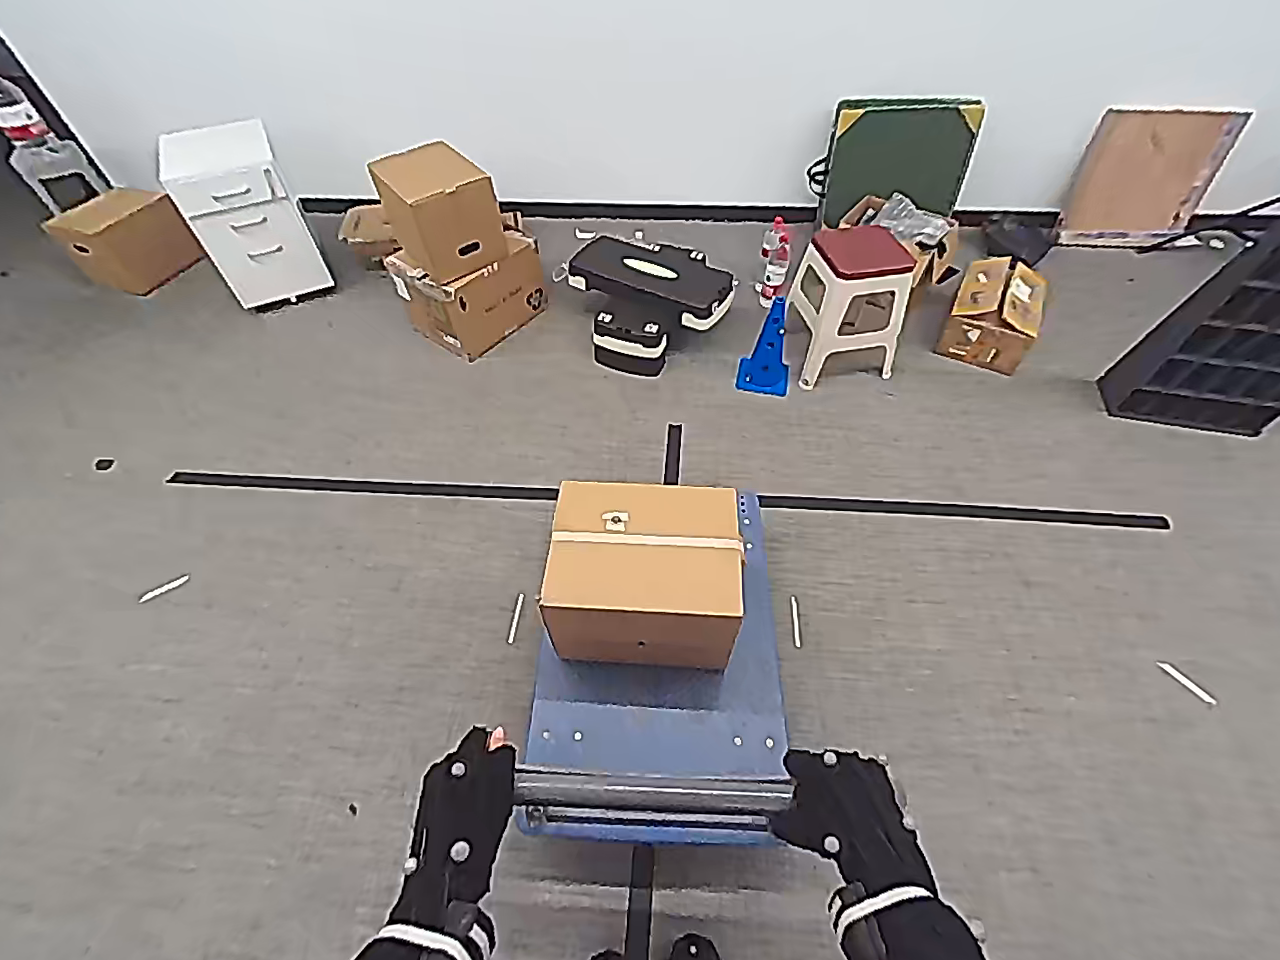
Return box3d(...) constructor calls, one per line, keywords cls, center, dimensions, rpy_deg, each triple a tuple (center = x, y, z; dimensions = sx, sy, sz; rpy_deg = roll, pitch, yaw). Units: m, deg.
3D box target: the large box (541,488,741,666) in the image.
box3d(cls="large box", center=(0.012, 0.234, 1.273), dimensions=(0.408, 0.320, 0.320), rpy_deg=(2, 52, 3))
